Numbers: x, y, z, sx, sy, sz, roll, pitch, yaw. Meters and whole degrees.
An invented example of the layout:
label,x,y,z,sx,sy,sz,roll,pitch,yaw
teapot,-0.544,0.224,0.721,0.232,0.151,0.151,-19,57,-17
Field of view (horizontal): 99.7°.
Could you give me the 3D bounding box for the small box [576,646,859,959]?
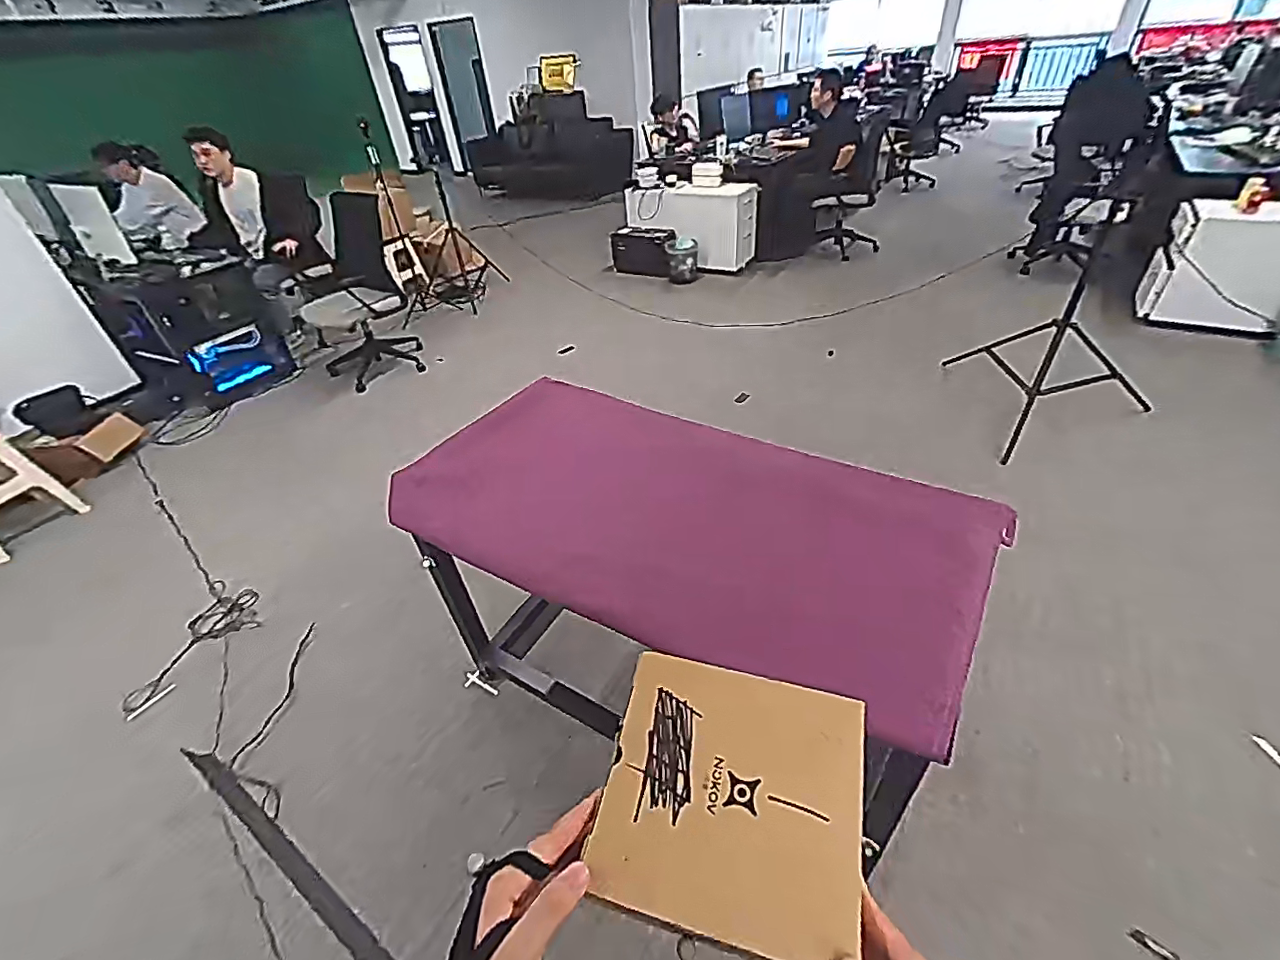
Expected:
label,x,y,z,sx,sy,sz,roll,pitch,yaw
small box,0.068,0.262,0.439,0.179,0.176,0.168,9,50,13
